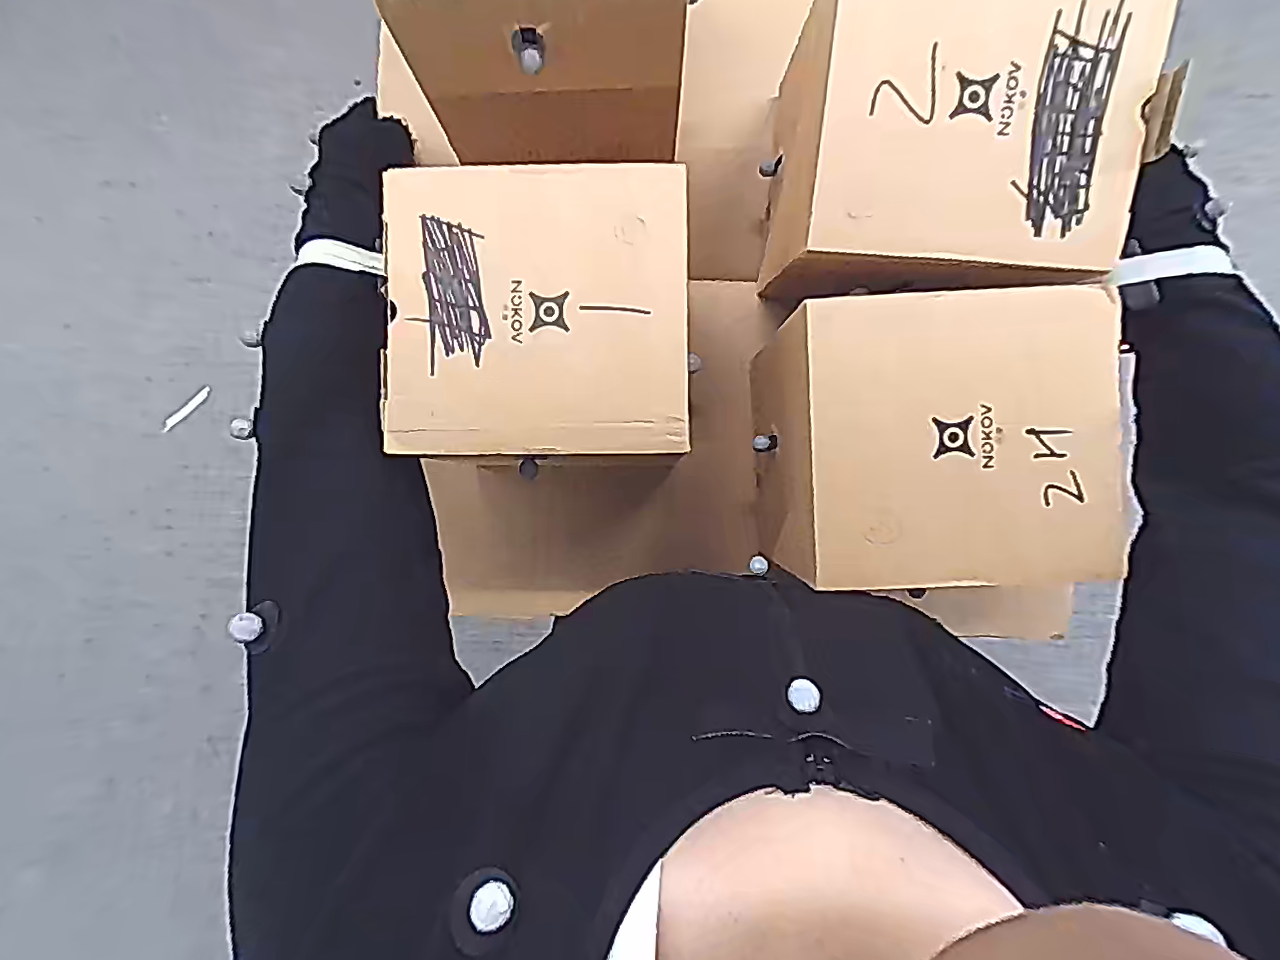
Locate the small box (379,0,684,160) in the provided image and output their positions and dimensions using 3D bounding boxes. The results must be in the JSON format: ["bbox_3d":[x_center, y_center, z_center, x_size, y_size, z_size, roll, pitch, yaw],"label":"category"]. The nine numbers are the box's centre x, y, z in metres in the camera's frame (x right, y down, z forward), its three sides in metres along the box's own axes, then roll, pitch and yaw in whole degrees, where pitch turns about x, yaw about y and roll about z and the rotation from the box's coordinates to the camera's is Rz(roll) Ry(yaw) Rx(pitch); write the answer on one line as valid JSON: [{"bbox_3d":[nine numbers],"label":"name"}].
[{"bbox_3d":[-0.064,-0.351,0.370,0.179,0.176,0.168,-3,88,2],"label":"small box"}]
